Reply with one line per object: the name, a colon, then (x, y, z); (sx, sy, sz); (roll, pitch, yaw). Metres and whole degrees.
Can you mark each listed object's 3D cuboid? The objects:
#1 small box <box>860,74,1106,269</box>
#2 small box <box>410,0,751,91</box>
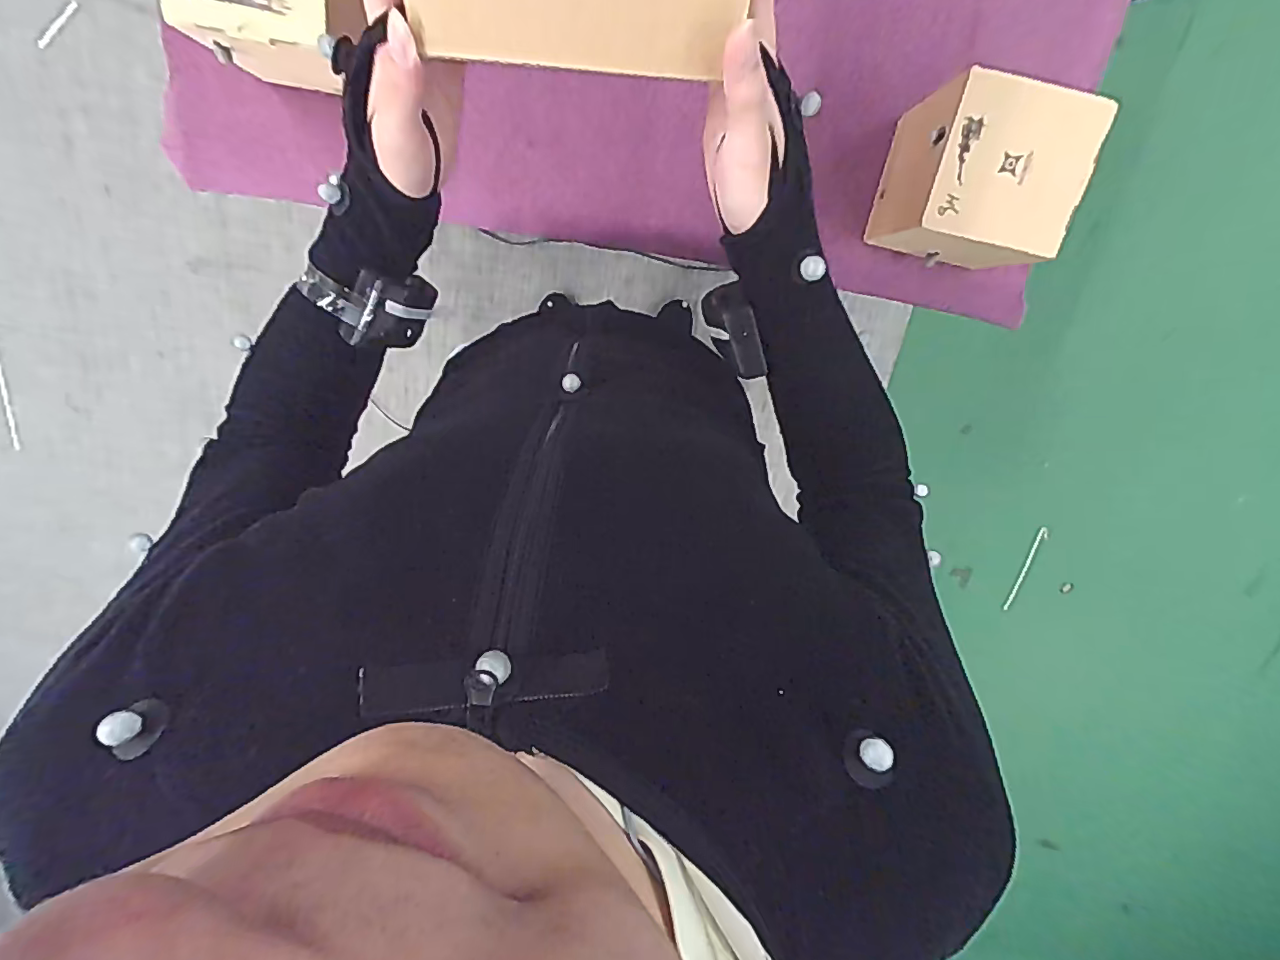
small box: (0.420, -0.376, 0.696); (0.179, 0.176, 0.168); (11, 107, -5)
small box: (-0.023, -0.327, 0.269); (0.168, 0.176, 0.179); (4, 139, -3)
